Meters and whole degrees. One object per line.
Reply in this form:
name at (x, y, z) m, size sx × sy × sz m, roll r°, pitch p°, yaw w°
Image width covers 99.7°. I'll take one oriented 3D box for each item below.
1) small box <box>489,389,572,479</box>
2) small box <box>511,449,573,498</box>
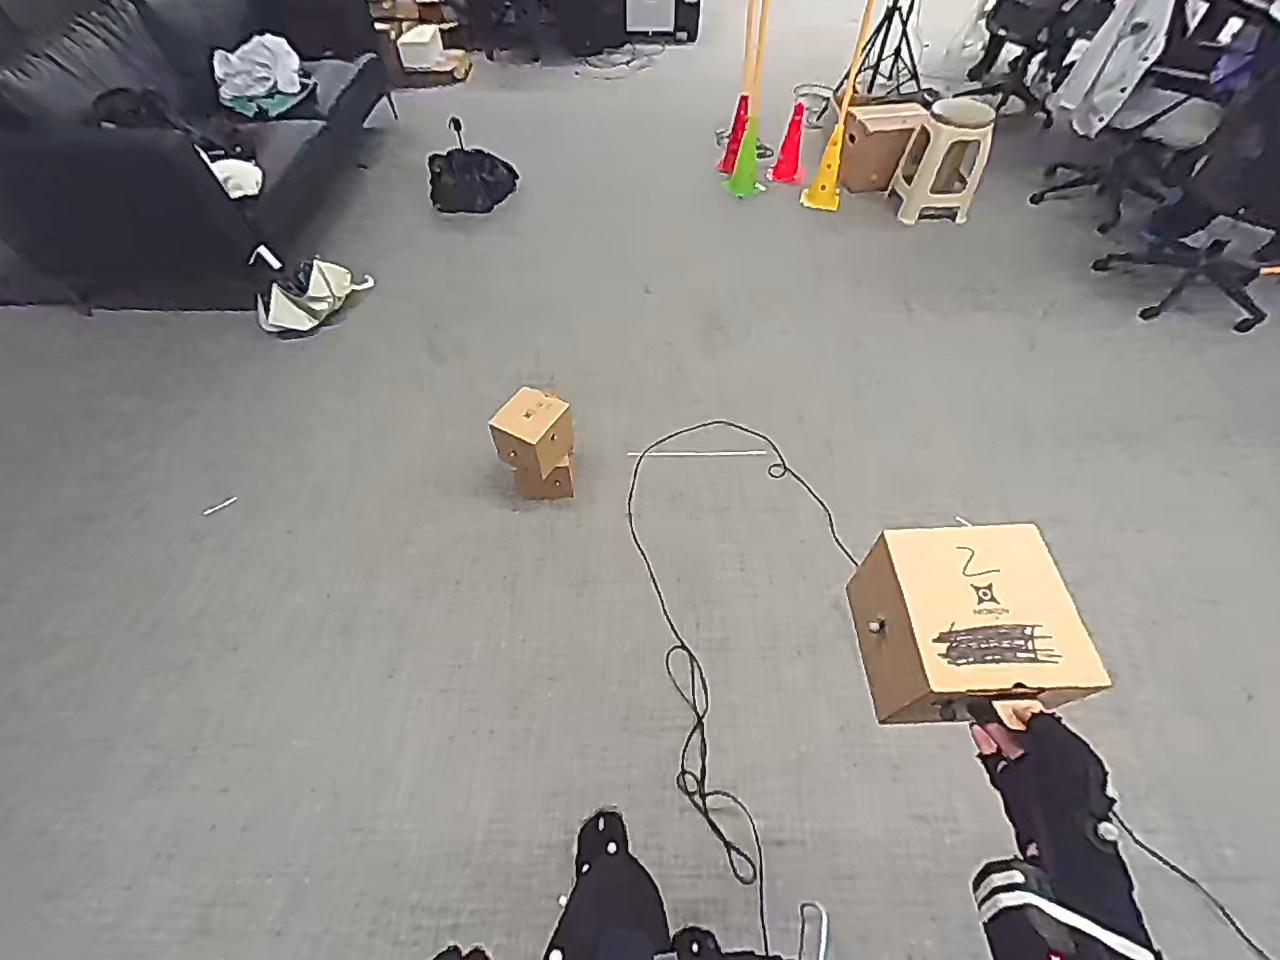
small box at (-0.315, -0.132, 1.604) m, size 0.168 × 0.176 × 0.179 m, roll 24°, pitch 57°, yaw 17°
small box at (-0.308, -0.057, 1.732) m, size 0.179 × 0.176 × 0.168 m, roll -5°, pitch 53°, yaw -2°
